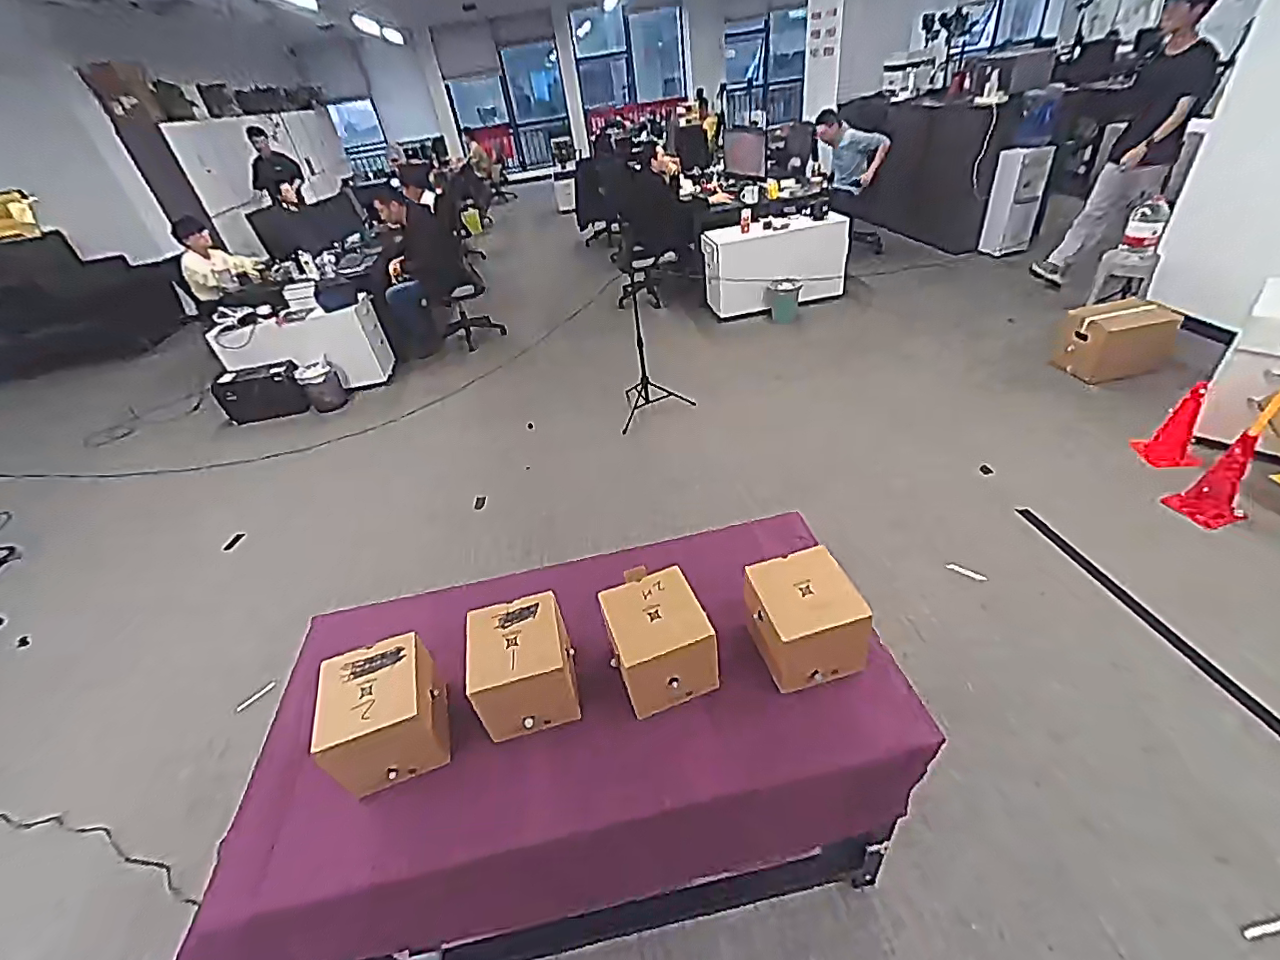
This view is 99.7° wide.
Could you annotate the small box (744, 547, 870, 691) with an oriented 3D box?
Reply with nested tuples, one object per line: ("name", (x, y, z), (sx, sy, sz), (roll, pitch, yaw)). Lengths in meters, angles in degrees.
("small box", (0.302, 0.260, 1.017), (0.168, 0.176, 0.179), (-15, 37, -6))

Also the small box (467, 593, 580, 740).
("small box", (-0.216, 0.348, 1.014), (0.168, 0.176, 0.179), (-14, 38, -6))

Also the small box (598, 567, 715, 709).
("small box", (0.033, 0.302, 1.019), (0.168, 0.176, 0.179), (-17, 37, -11))
